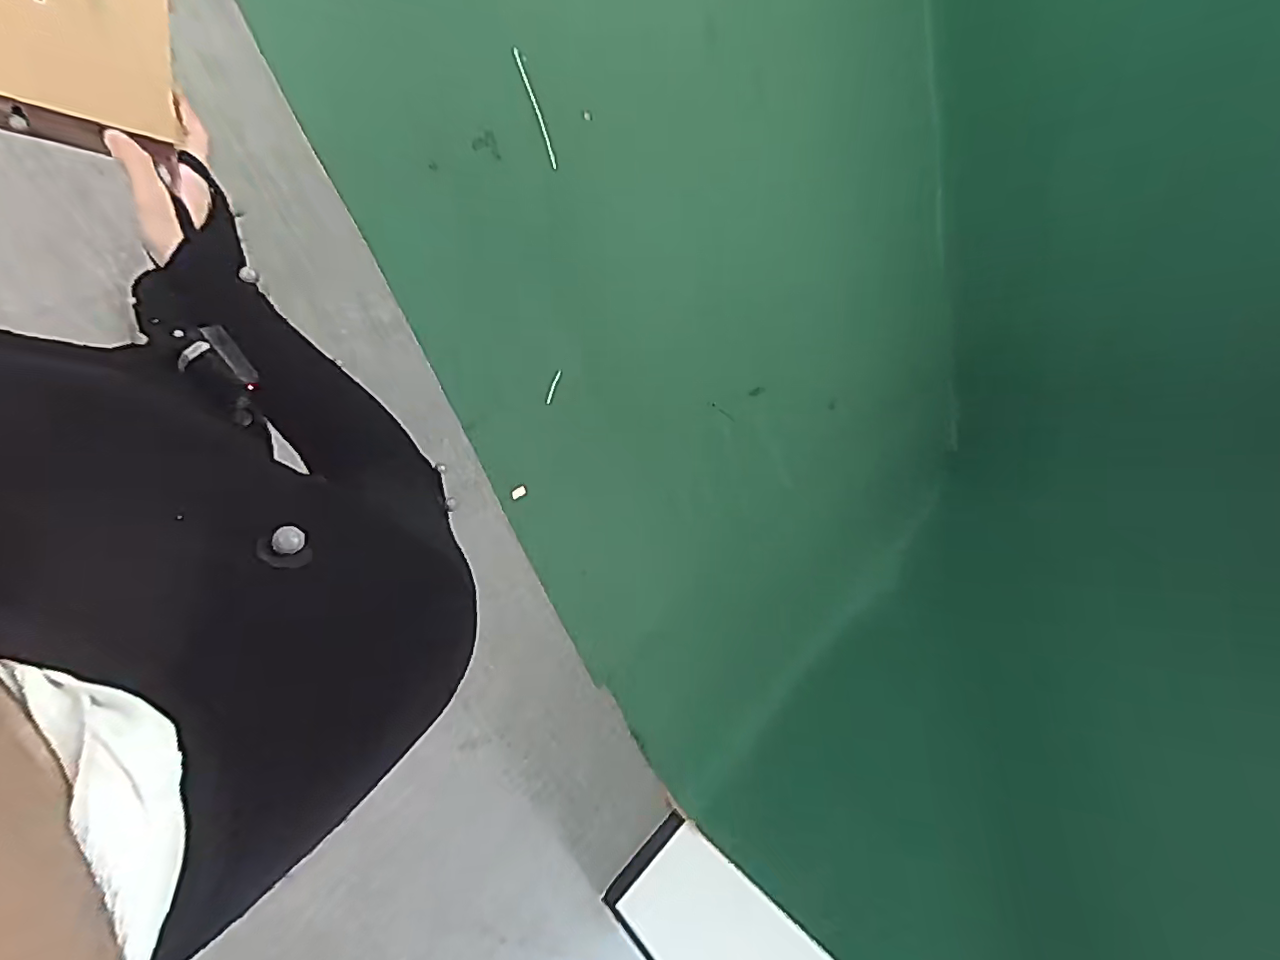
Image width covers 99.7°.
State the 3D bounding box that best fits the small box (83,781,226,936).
[{"bbox_3d":[-1.042,0.813,1.179,0.179,0.176,0.168,-29,117,-31],"label":"small box"}]

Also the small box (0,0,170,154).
[{"bbox_3d":[-0.500,-0.384,0.432,0.179,0.176,0.168,-5,109,-44],"label":"small box"}]
